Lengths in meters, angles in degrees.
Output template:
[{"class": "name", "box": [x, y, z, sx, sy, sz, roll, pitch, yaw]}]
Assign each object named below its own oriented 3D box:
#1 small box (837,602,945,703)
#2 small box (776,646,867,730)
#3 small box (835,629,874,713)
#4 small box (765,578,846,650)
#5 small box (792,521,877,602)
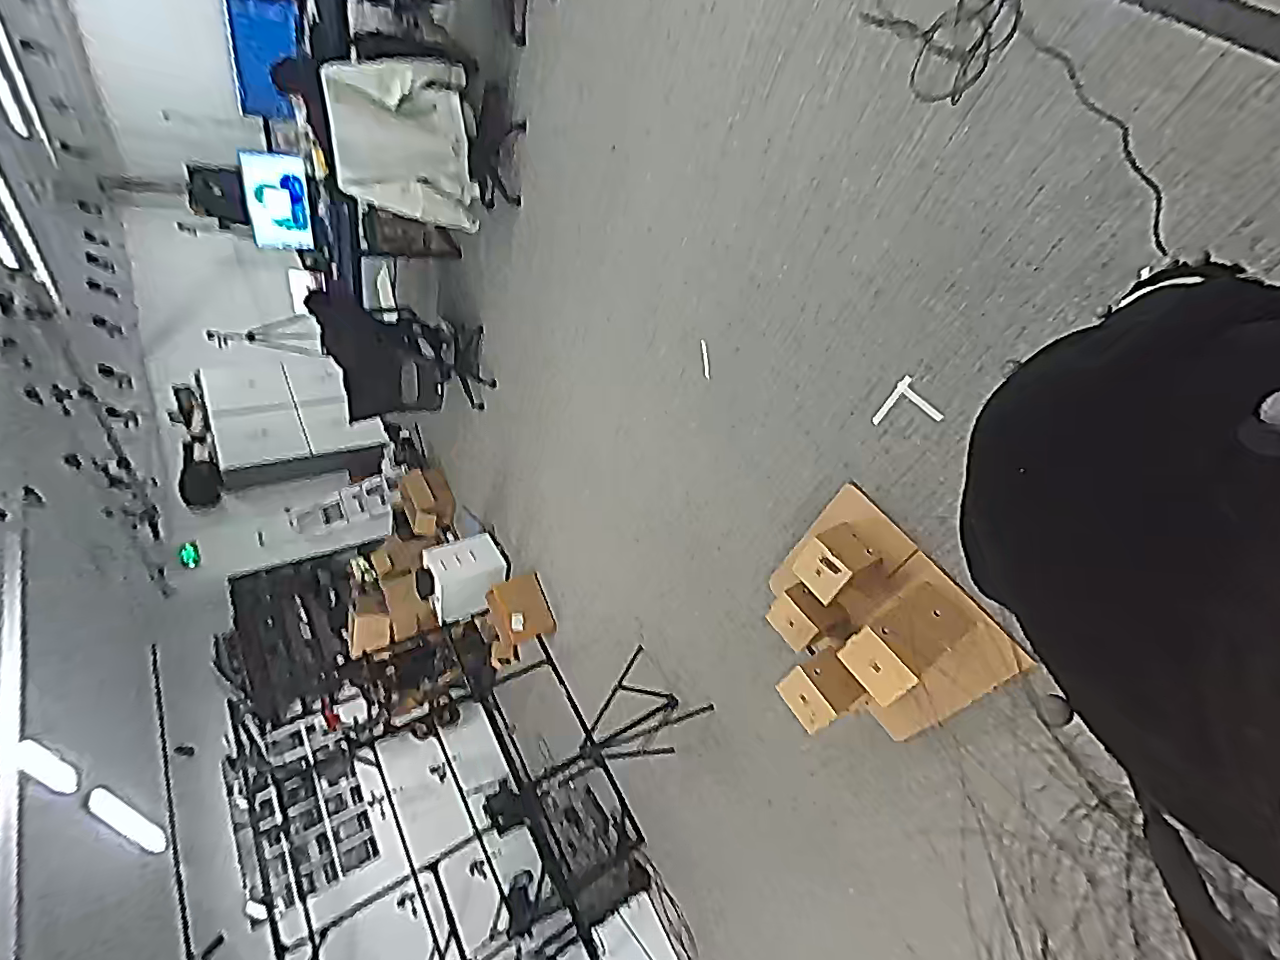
[{"class": "small box", "box": [0.688, 0.467, 1.479, 0.179, 0.176, 0.168, 51, 139, 30]}, {"class": "small box", "box": [0.573, 0.649, 1.711, 0.179, 0.176, 0.168, 53, 141, 28]}, {"class": "small box", "box": [0.717, 0.629, 1.793, 0.179, 0.176, 0.168, 49, 138, 31]}, {"class": "small box", "box": [0.587, 0.462, 1.916, 0.179, 0.176, 0.168, 49, 140, 31]}, {"class": "small box", "box": [0.637, 0.258, 1.760, 0.168, 0.176, 0.179, 50, 139, 31]}]
